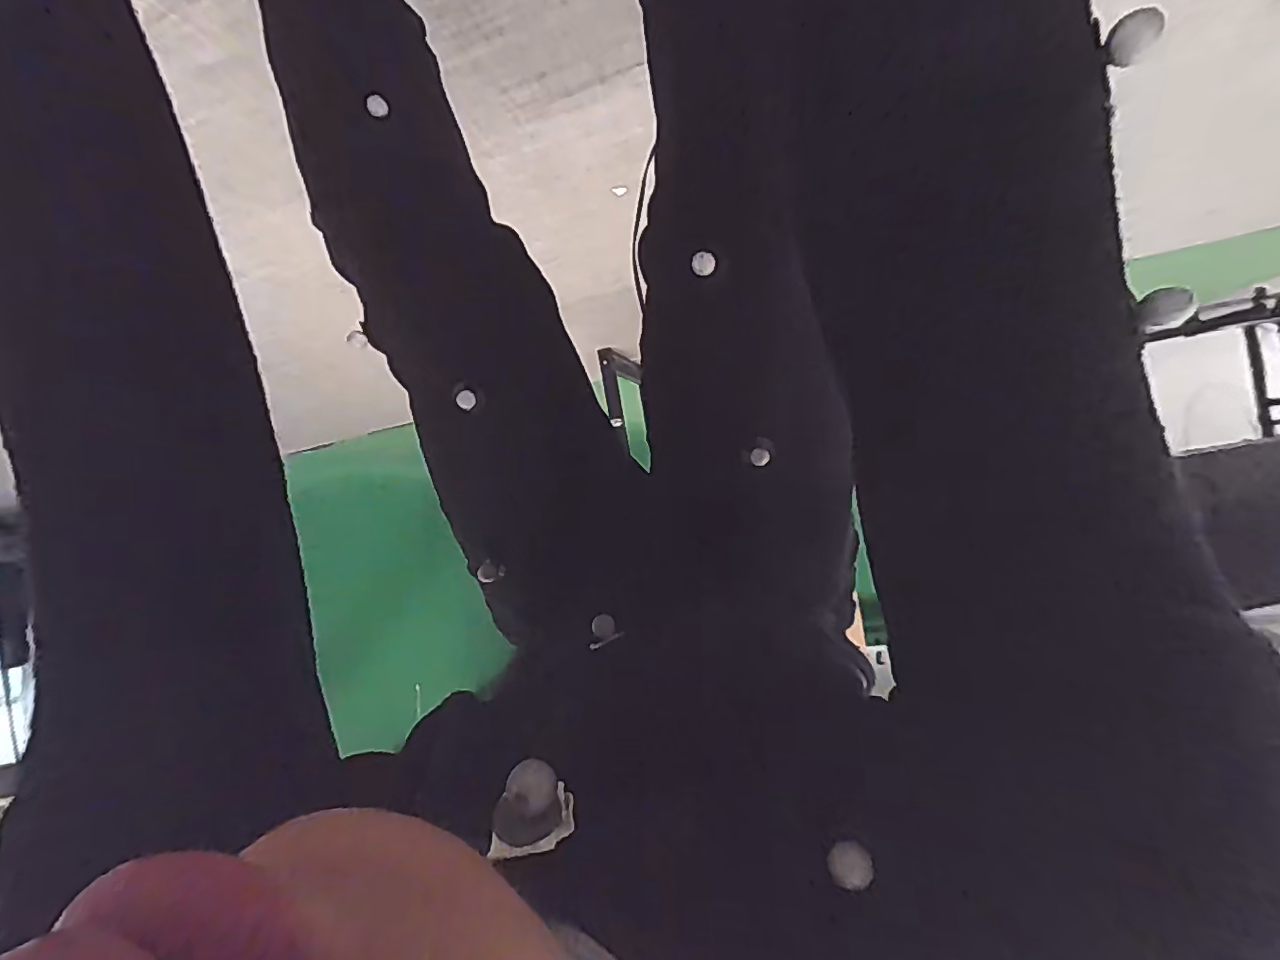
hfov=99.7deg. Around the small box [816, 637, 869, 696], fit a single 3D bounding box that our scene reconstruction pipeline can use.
[{"bbox_3d":[0.809,0.747,2.175,0.168,0.176,0.179,-11,179,17],"label":"small box"}]
